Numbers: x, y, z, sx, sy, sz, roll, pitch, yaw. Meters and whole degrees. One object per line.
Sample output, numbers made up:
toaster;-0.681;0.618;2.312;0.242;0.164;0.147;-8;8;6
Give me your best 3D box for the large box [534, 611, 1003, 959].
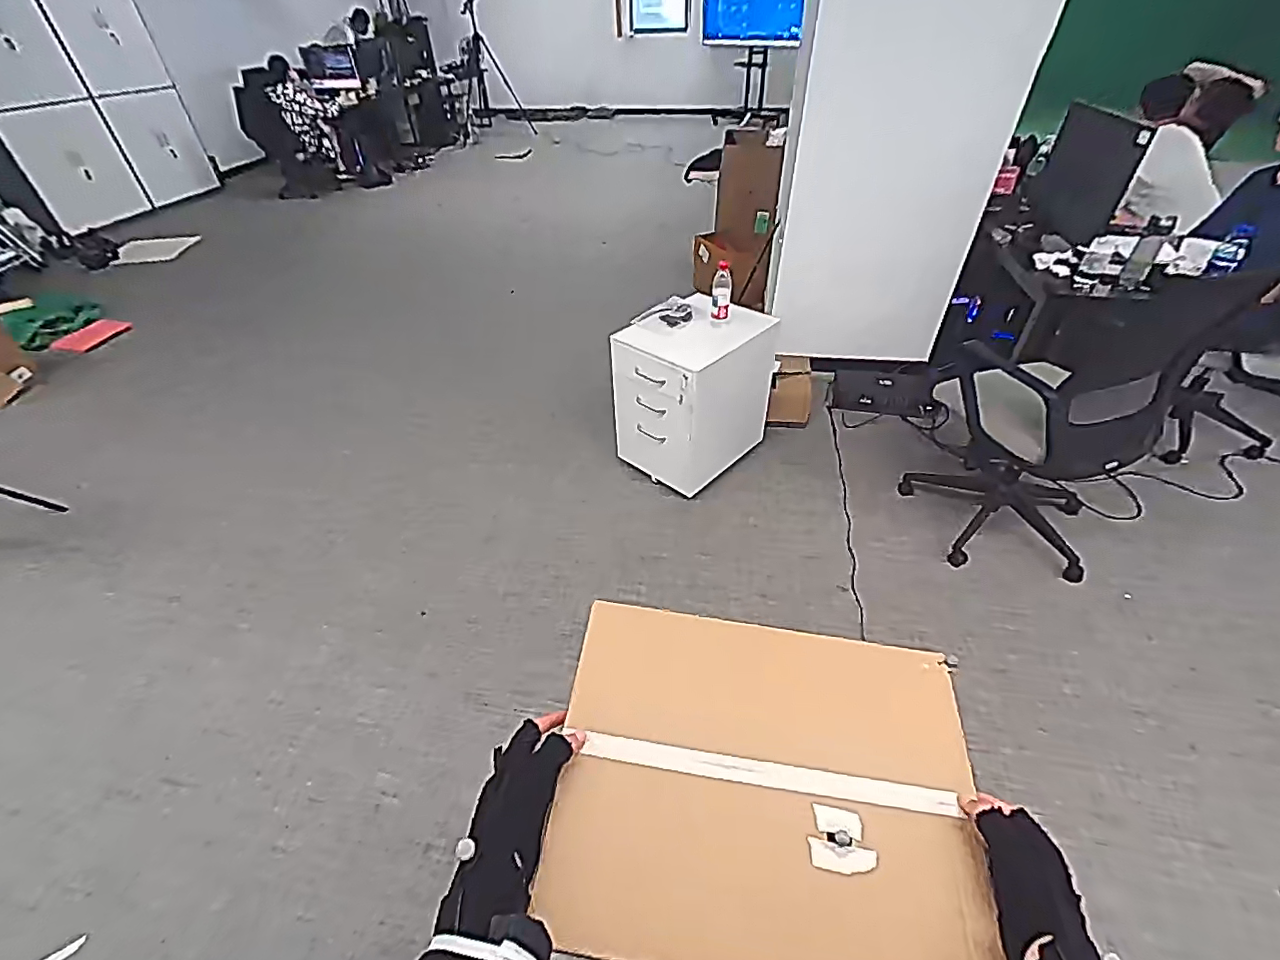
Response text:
large box;0.118;0.391;0.651;0.408;0.320;0.320;8;50;4
